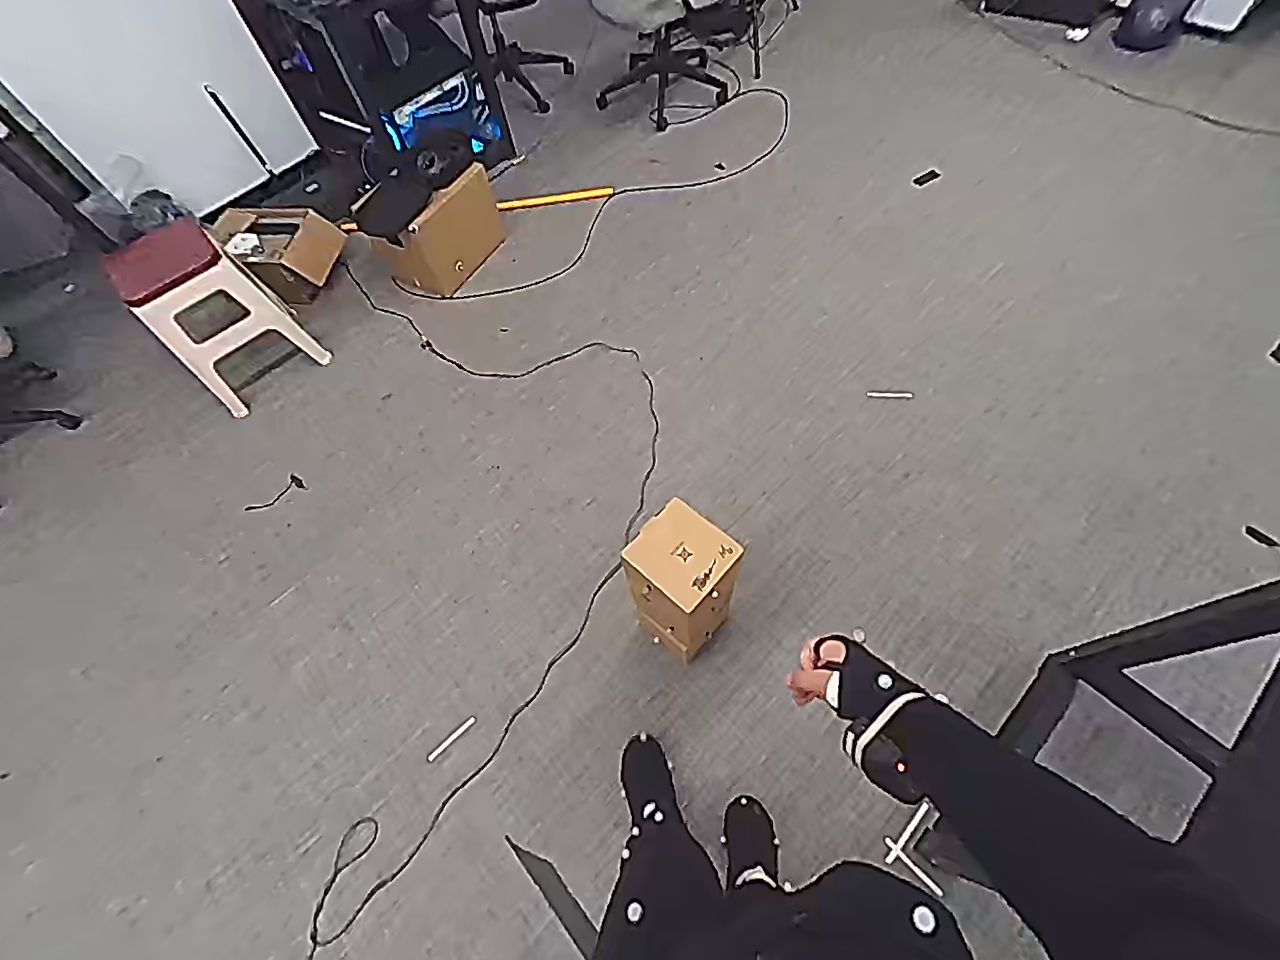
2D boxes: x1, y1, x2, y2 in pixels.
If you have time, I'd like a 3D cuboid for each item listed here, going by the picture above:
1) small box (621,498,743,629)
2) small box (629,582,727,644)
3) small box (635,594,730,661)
[{"bbox_3d":[0.084,0.175,1.094,0.179,0.176,0.168,38,71,22],"label":"small box"},{"bbox_3d":[0.096,0.249,1.239,0.168,0.176,0.179,35,68,20],"label":"small box"},{"bbox_3d":[0.108,0.332,1.379,0.168,0.176,0.179,38,72,23],"label":"small box"}]
